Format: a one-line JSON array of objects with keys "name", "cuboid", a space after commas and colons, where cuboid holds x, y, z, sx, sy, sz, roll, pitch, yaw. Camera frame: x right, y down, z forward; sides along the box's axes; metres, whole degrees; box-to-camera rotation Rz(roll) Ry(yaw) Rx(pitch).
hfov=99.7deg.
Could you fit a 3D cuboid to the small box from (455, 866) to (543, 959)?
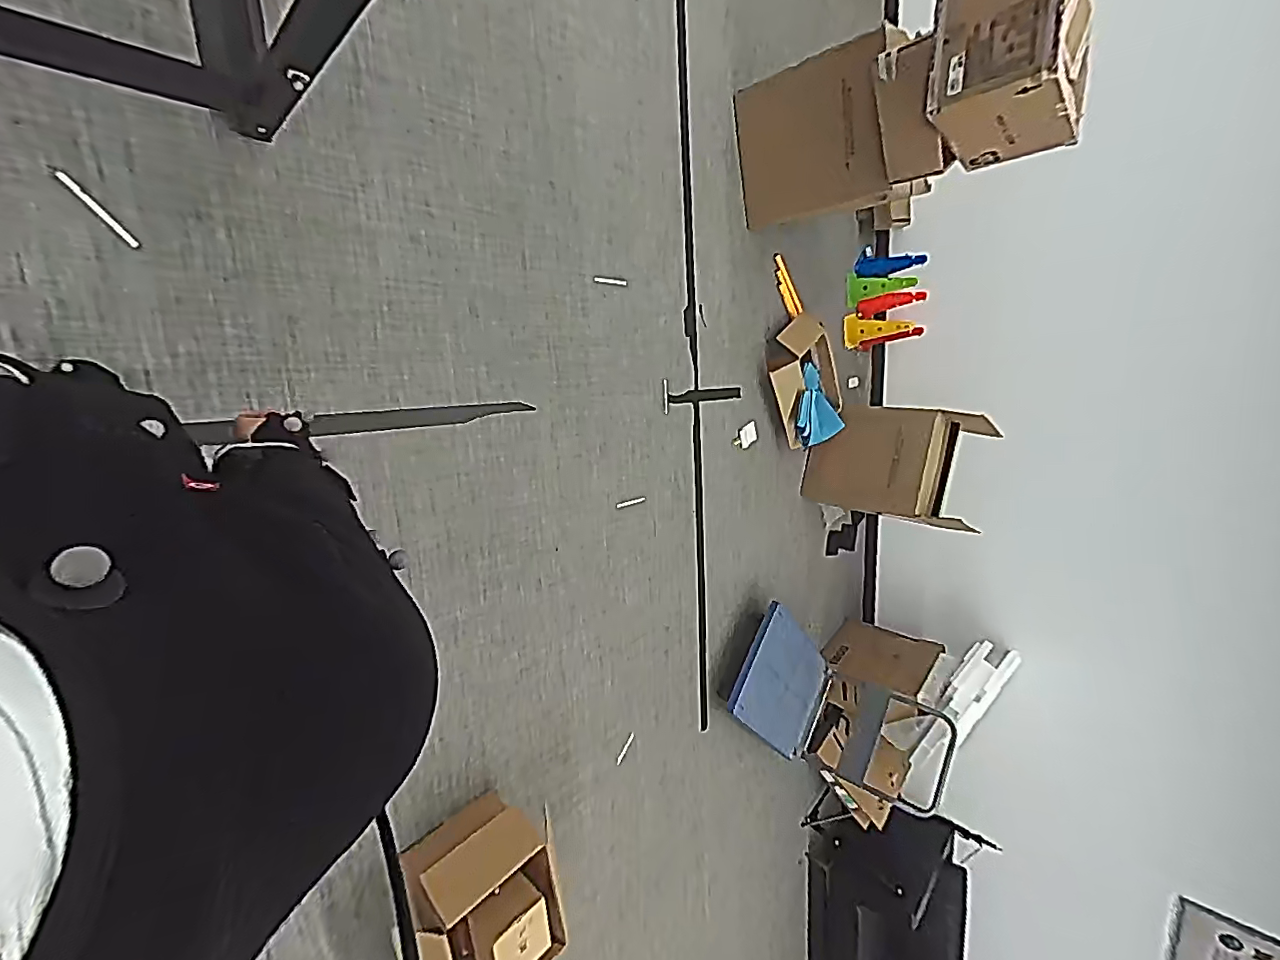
[{"name": "small box", "cuboid": [-0.390, 1.230, 1.493, 0.168, 0.176, 0.179, -17, 107, -45]}]
